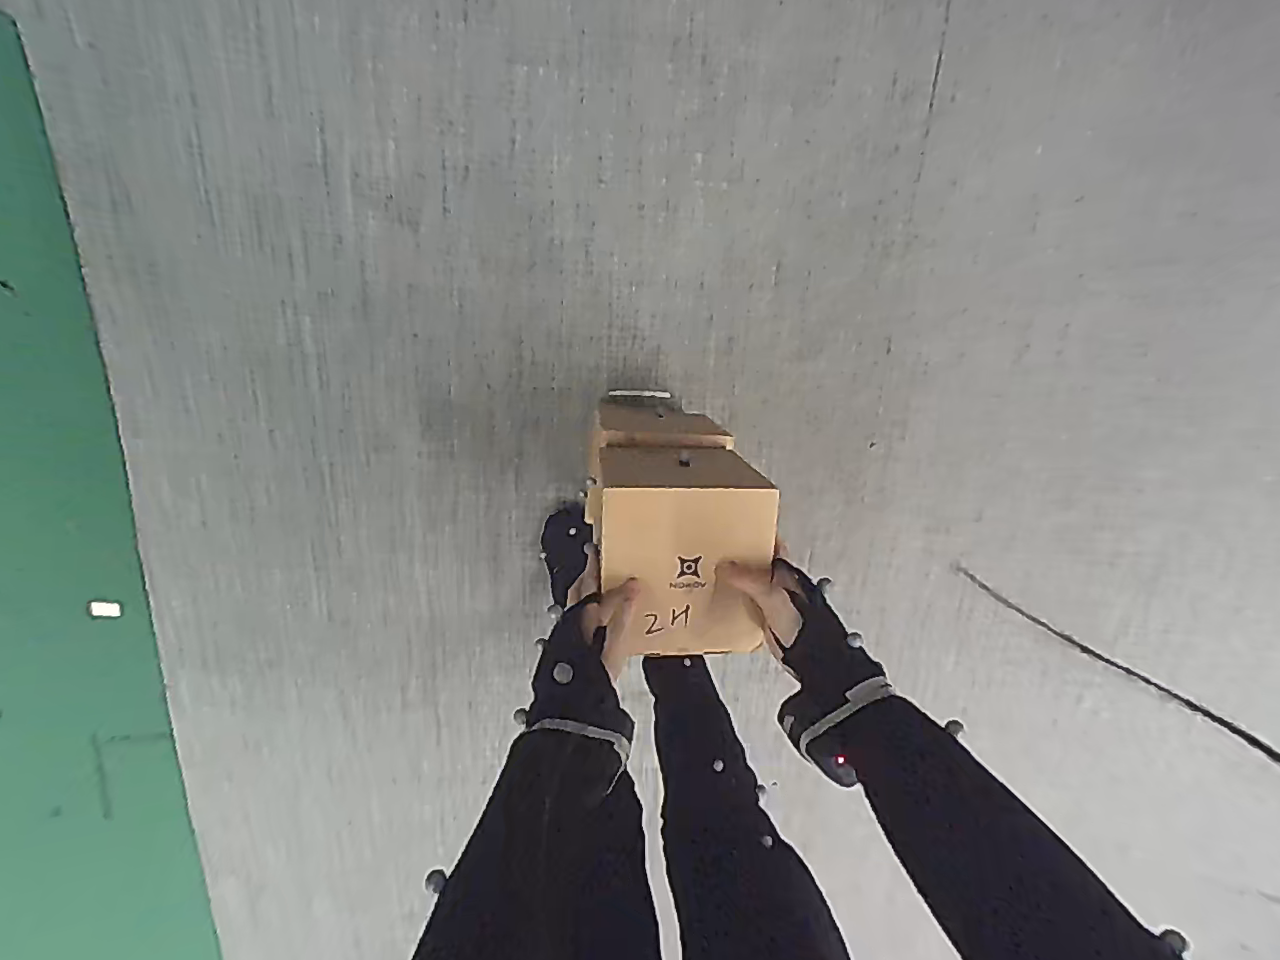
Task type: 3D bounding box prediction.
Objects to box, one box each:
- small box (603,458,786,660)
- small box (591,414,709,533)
[{"bbox_3d":[0.046,0.076,0.599,0.168,0.176,0.179,2,105,-5],"label":"small box"},{"bbox_3d":[0.007,-0.011,0.926,0.168,0.176,0.179,7,105,-8],"label":"small box"}]
